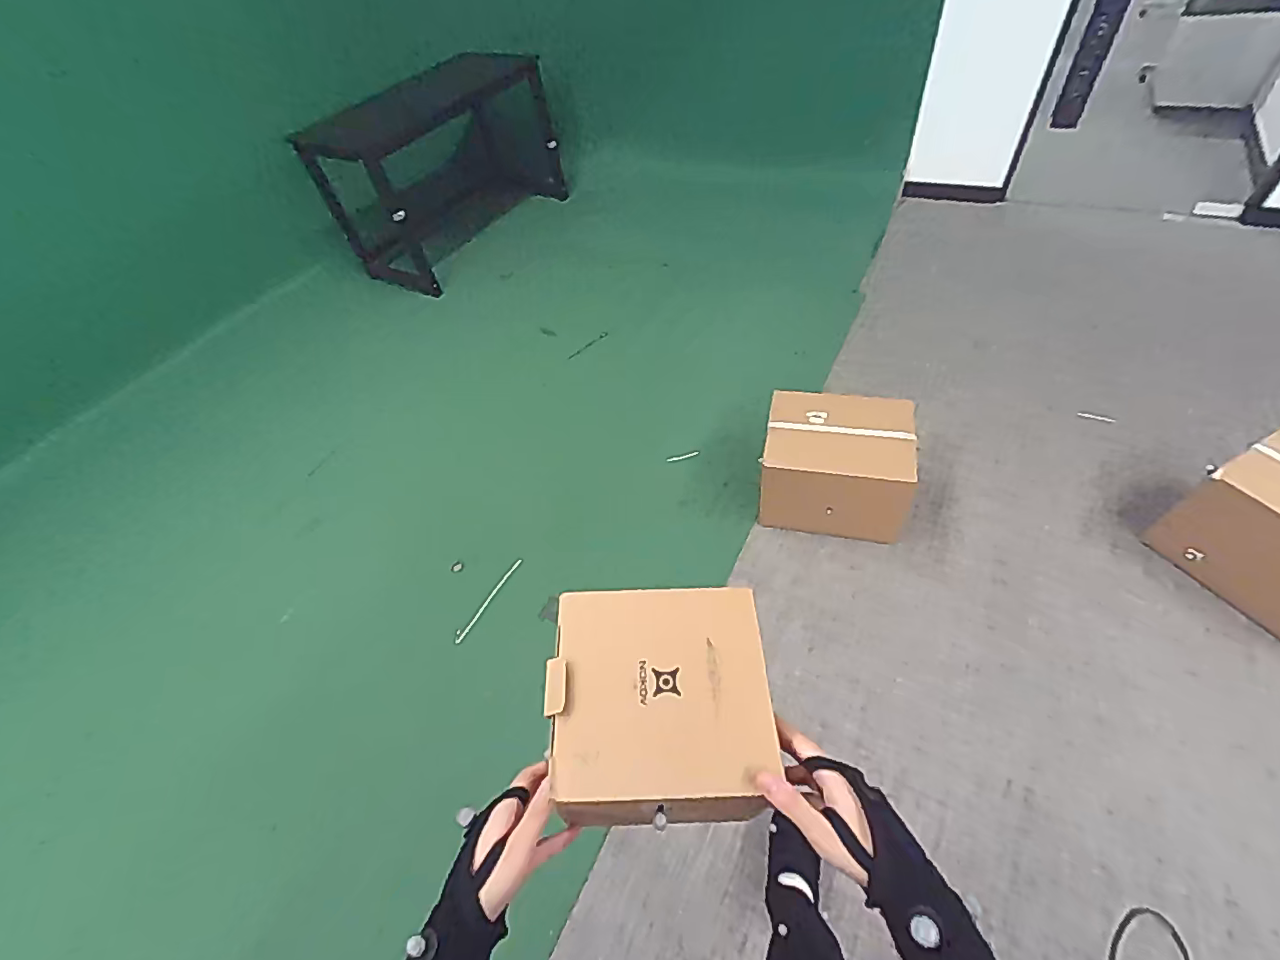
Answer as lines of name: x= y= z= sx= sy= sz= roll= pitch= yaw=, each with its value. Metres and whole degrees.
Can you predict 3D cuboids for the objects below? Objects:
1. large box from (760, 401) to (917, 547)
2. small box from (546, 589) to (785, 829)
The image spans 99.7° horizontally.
large box: x=0.590 y=-0.019 z=1.655 sx=0.408 sy=0.320 sz=0.320 roll=6 pitch=52 yaw=16
small box: x=0.019 y=0.214 z=0.498 sx=0.179 sy=0.176 sz=0.168 roll=-1 pitch=52 yaw=-1
